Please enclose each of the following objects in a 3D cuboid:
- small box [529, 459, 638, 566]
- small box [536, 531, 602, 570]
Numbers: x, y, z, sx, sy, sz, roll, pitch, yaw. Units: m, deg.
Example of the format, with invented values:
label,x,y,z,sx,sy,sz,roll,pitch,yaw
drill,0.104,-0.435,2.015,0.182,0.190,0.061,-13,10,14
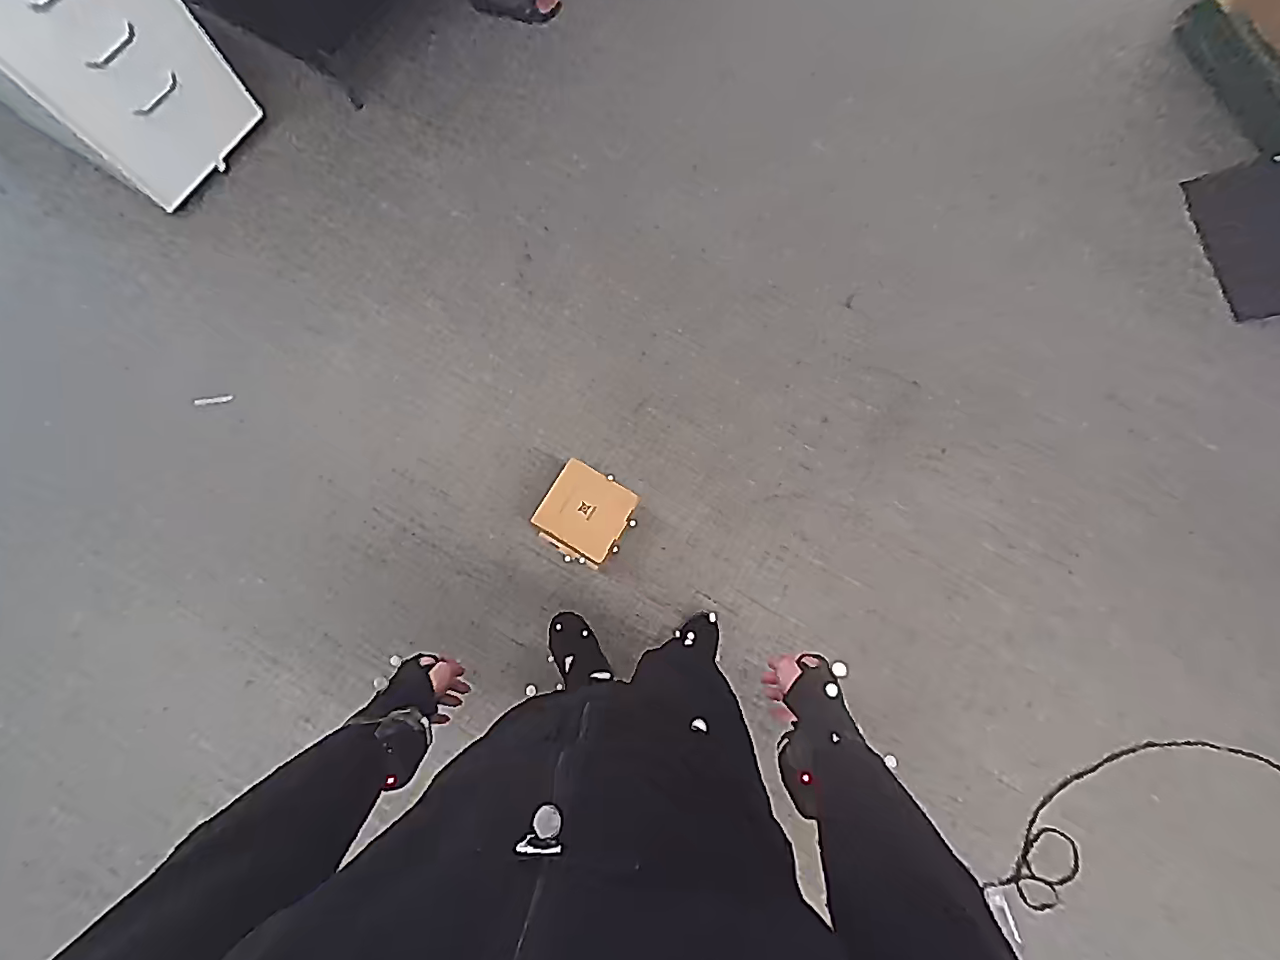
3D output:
label,x,y,z,sx,sy,sz,roll,pitch,yaw
small box,-0.121,0.079,1.205,0.179,0.176,0.168,31,77,4
small box,-0.141,0.117,1.382,0.168,0.176,0.179,29,78,3
